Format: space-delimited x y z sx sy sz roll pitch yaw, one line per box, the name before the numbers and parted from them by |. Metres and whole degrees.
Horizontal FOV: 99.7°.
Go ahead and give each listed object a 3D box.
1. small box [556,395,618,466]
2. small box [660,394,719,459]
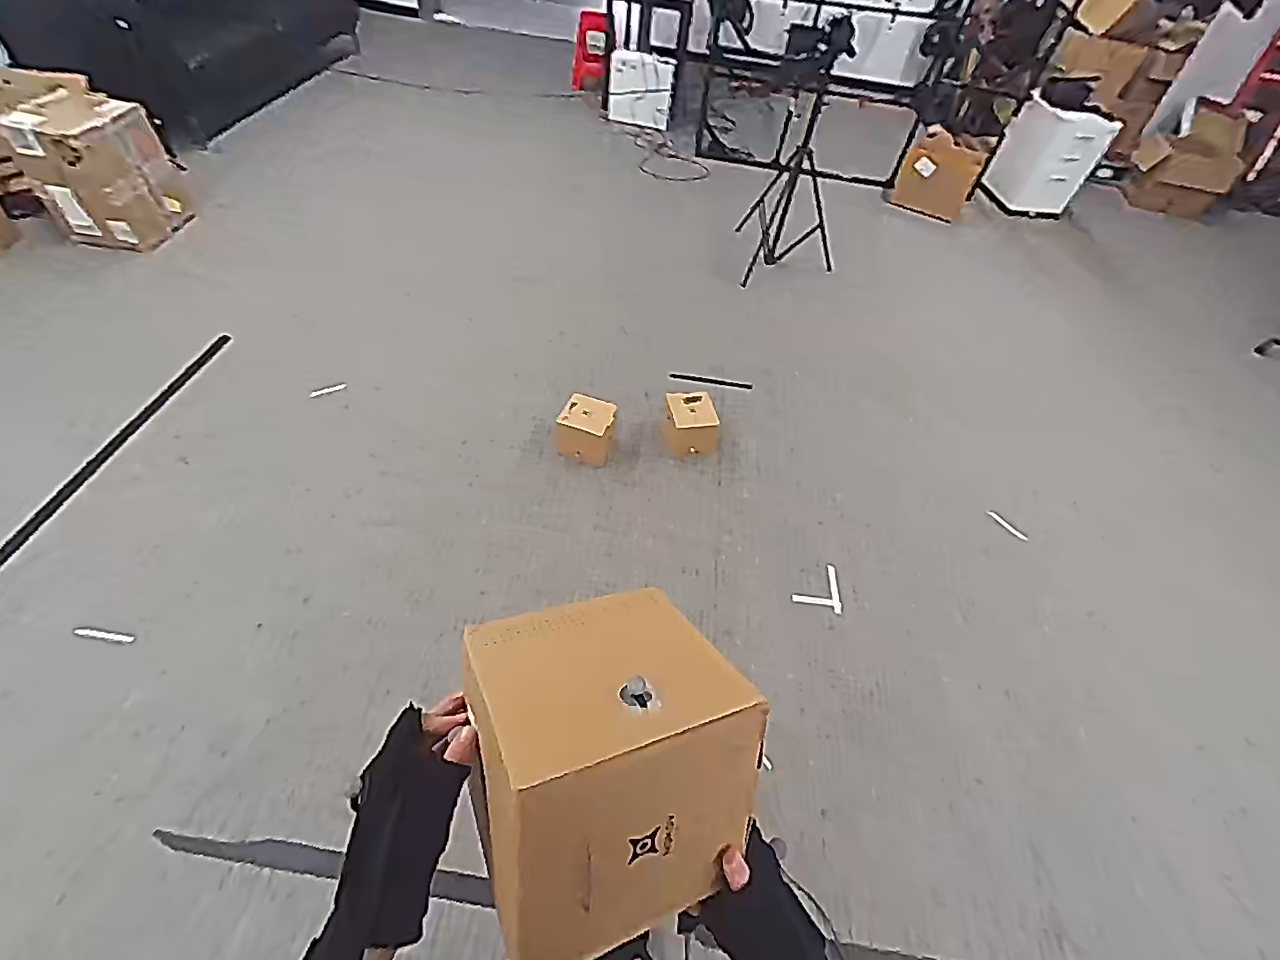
small box | -0.194 -0.174 1.972 0.179 0.176 0.168 19 51 8
small box | 0.180 -0.203 2.039 0.168 0.176 0.179 -6 53 -12
